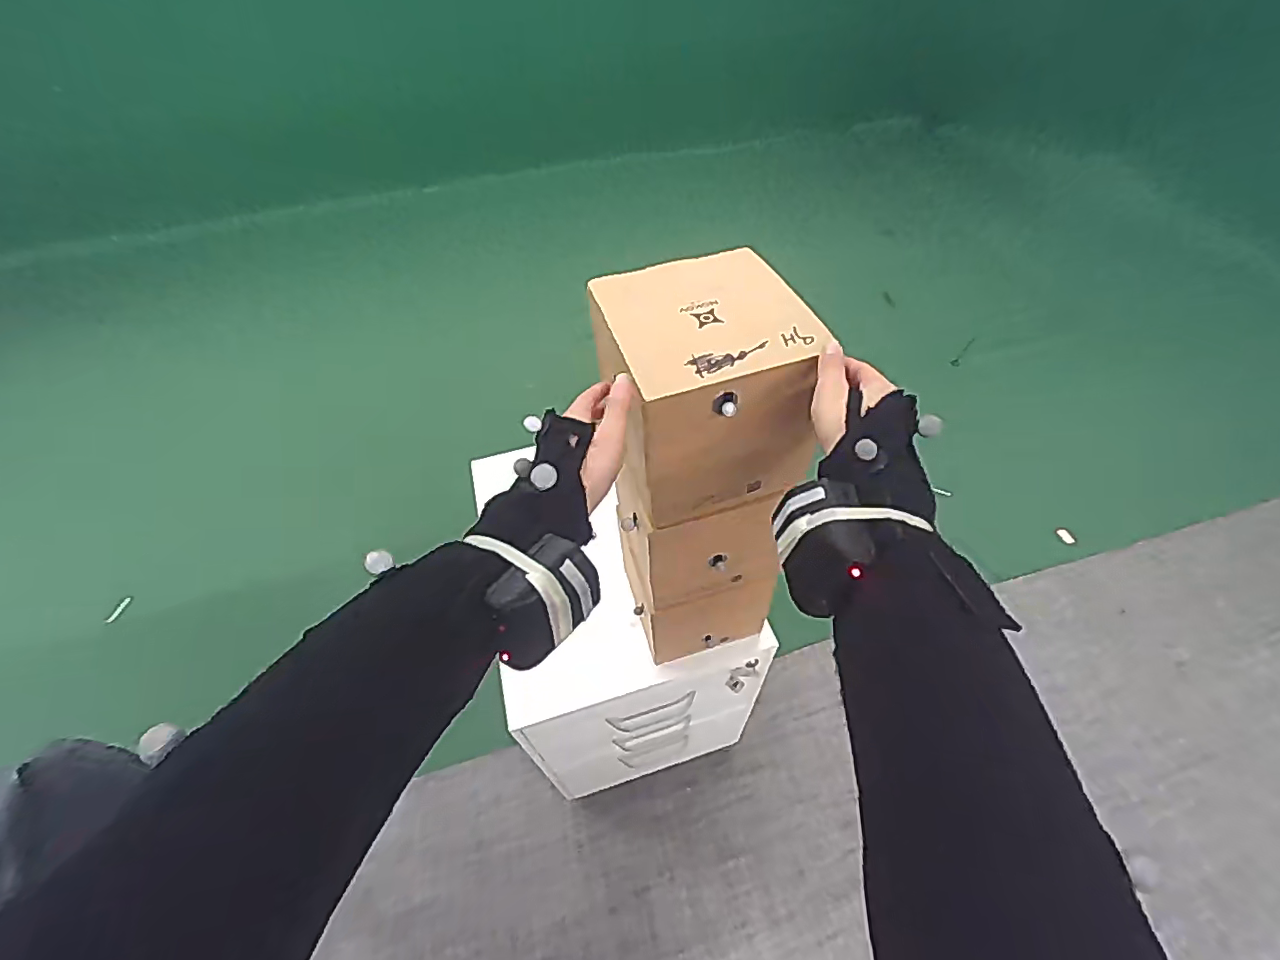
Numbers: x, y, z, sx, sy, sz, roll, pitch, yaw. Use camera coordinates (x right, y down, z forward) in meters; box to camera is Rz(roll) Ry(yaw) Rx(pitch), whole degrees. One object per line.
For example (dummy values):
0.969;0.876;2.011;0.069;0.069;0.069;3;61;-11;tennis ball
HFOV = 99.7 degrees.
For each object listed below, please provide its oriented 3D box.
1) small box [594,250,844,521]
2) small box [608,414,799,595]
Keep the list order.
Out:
0.060;-0.091;0.521;0.168;0.176;0.179;-16;51;-9;small box
0.066;0.019;0.643;0.168;0.176;0.179;-13;51;-8;small box
